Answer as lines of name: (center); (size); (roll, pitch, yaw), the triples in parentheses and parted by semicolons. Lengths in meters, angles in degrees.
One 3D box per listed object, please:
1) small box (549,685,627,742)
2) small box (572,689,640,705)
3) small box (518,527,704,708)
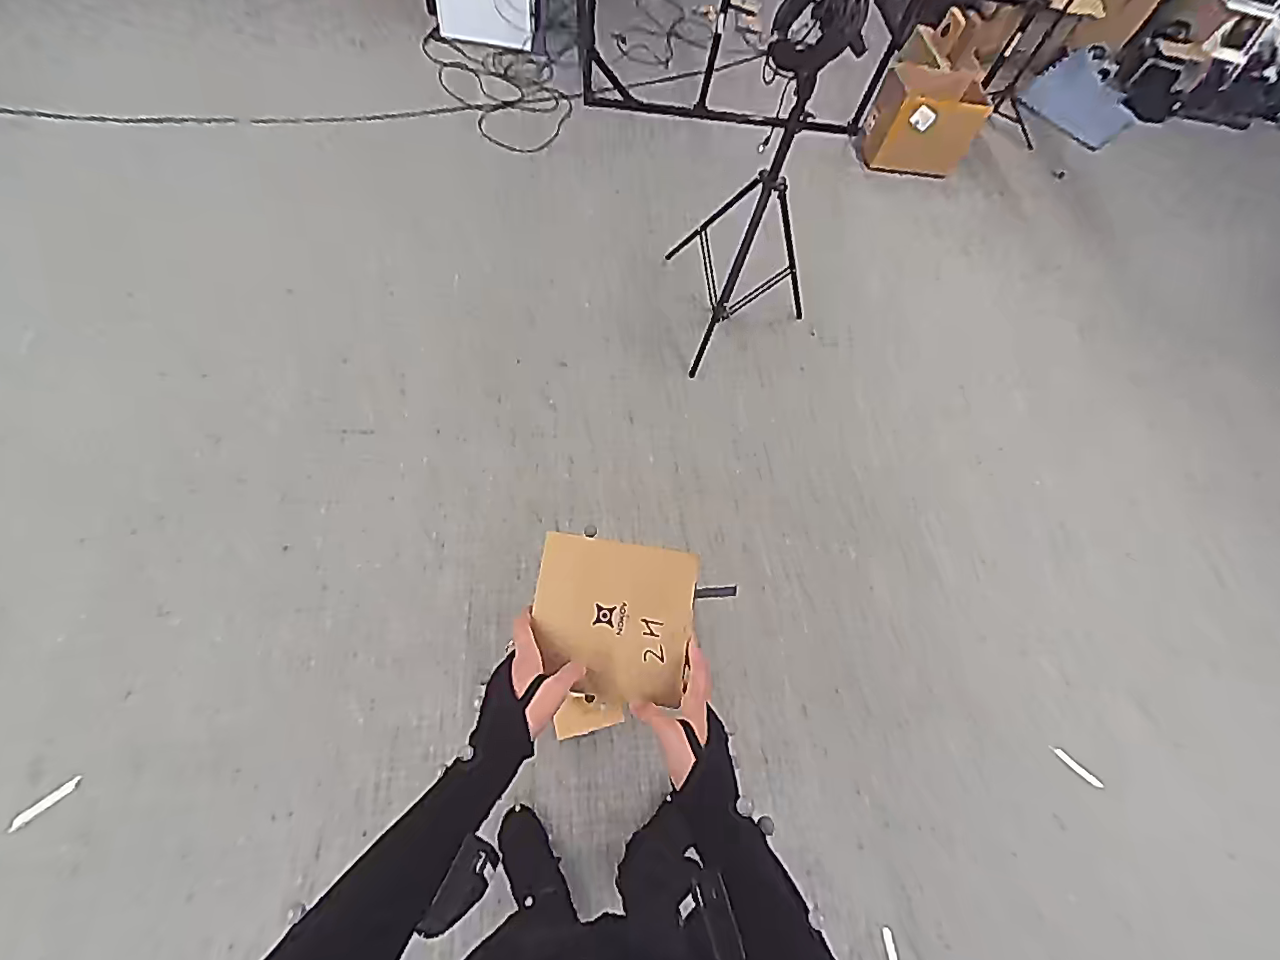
small box: (-0.140, 0.550, 1.371); (0.168, 0.176, 0.179); (-10, 65, -13)
small box: (-0.070, 0.423, 1.262); (0.168, 0.176, 0.179); (3, 63, -6)
small box: (-0.031, 0.160, 0.653); (0.179, 0.176, 0.168); (10, 79, -1)
